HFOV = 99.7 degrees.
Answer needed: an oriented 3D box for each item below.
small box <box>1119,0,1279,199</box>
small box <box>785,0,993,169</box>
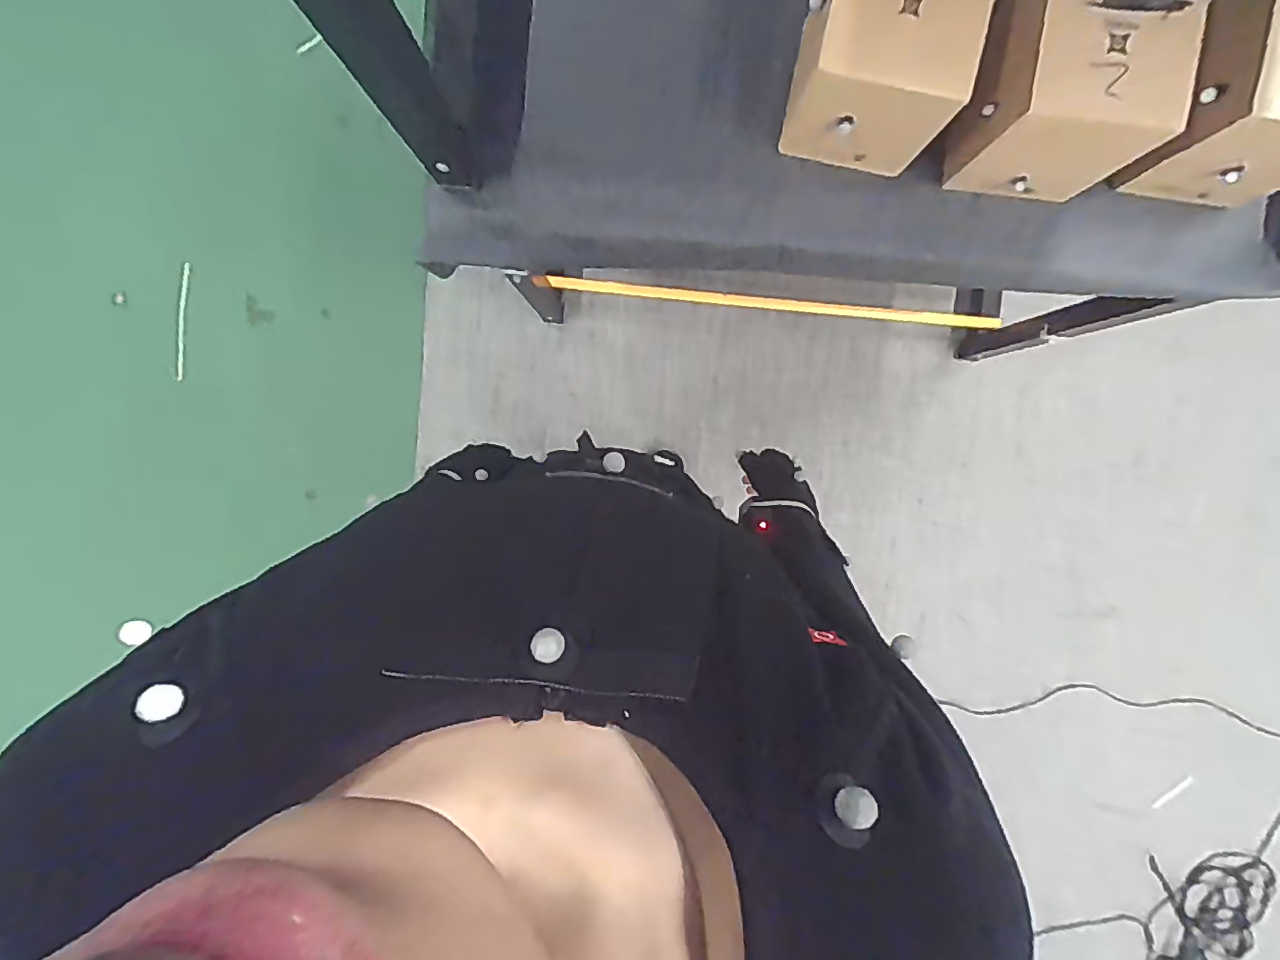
[{"bbox_3d":[0.721,-0.459,0.634,0.168,0.176,0.179,8,93,0],"label":"small box"},{"bbox_3d":[0.282,-0.503,0.637,0.168,0.176,0.179,12,94,0],"label":"small box"}]
